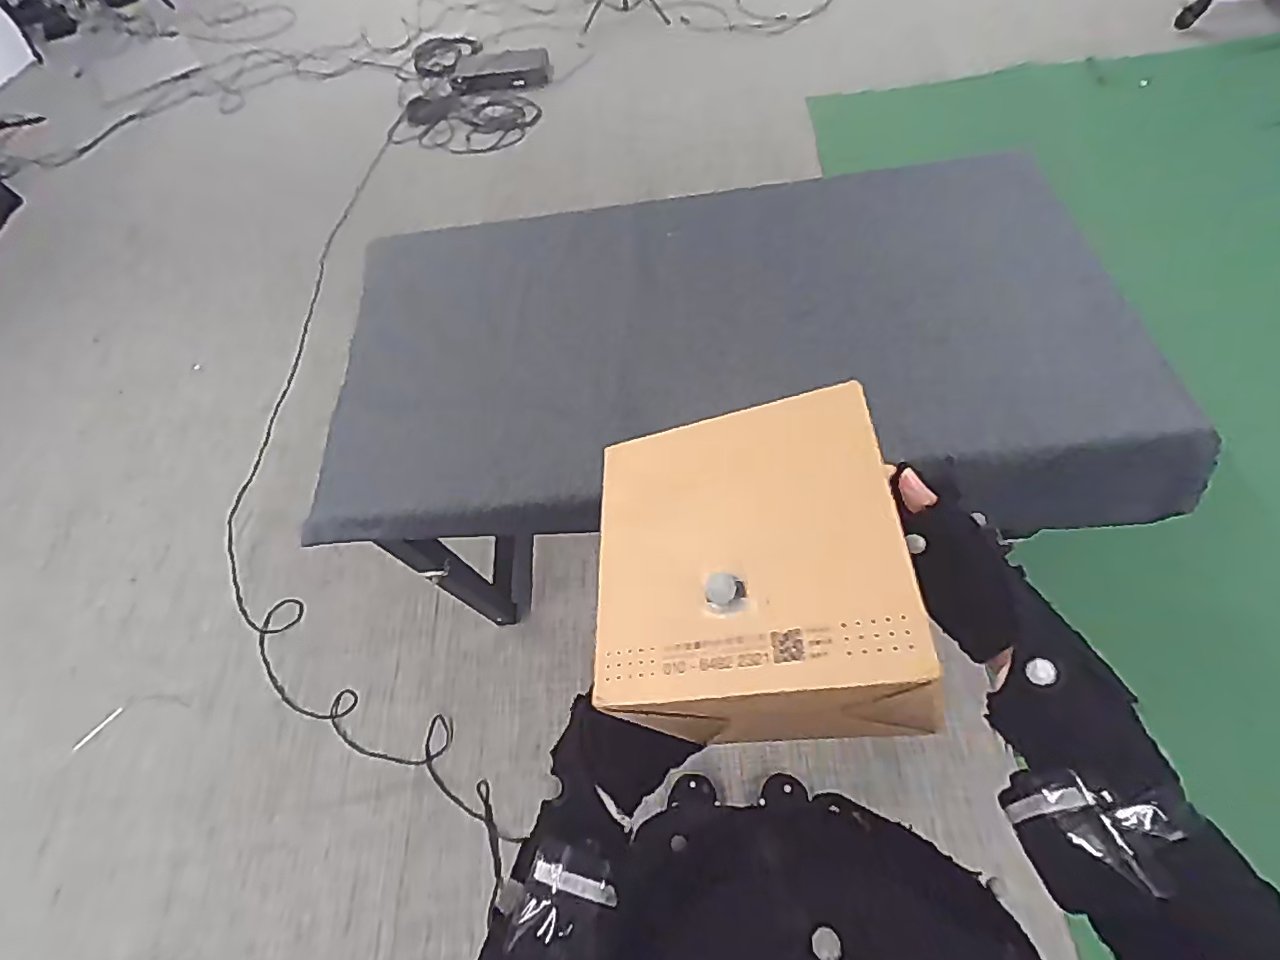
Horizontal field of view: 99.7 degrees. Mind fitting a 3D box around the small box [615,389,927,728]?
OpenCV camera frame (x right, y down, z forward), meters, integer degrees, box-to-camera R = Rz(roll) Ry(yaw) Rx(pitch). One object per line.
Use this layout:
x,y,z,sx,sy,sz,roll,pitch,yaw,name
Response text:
0.088,0.072,0.377,0.168,0.179,0.176,-14,57,20,small box
